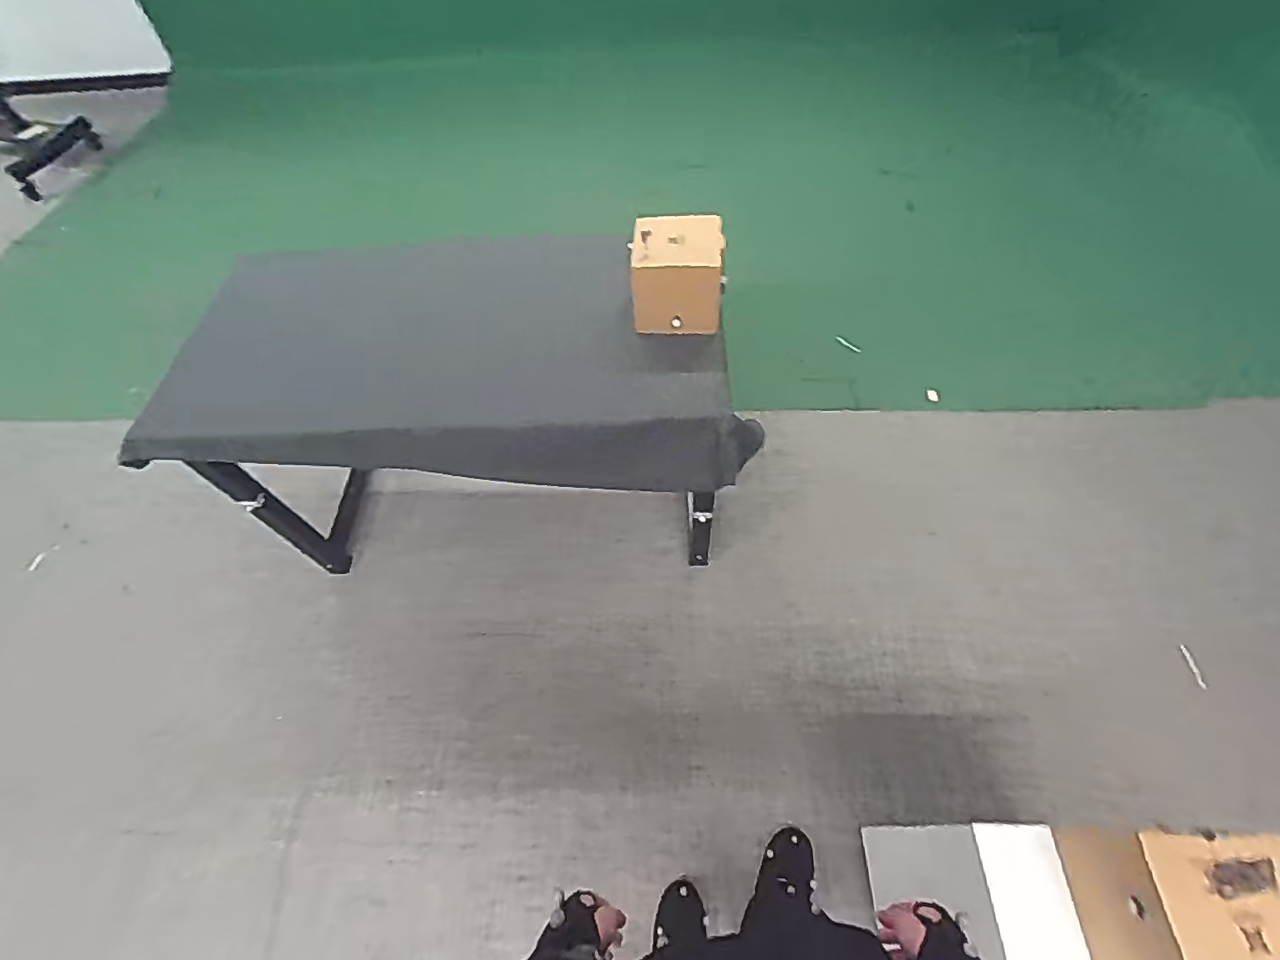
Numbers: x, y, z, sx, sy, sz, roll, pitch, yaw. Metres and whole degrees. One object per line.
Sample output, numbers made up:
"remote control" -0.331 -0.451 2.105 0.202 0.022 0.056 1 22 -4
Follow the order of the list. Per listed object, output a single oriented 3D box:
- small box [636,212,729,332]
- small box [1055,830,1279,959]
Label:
"small box" 0.086 -0.427 1.122 0.179 0.176 0.168 3 58 4
"small box" 0.650 0.526 0.646 0.168 0.176 0.179 1 59 3
